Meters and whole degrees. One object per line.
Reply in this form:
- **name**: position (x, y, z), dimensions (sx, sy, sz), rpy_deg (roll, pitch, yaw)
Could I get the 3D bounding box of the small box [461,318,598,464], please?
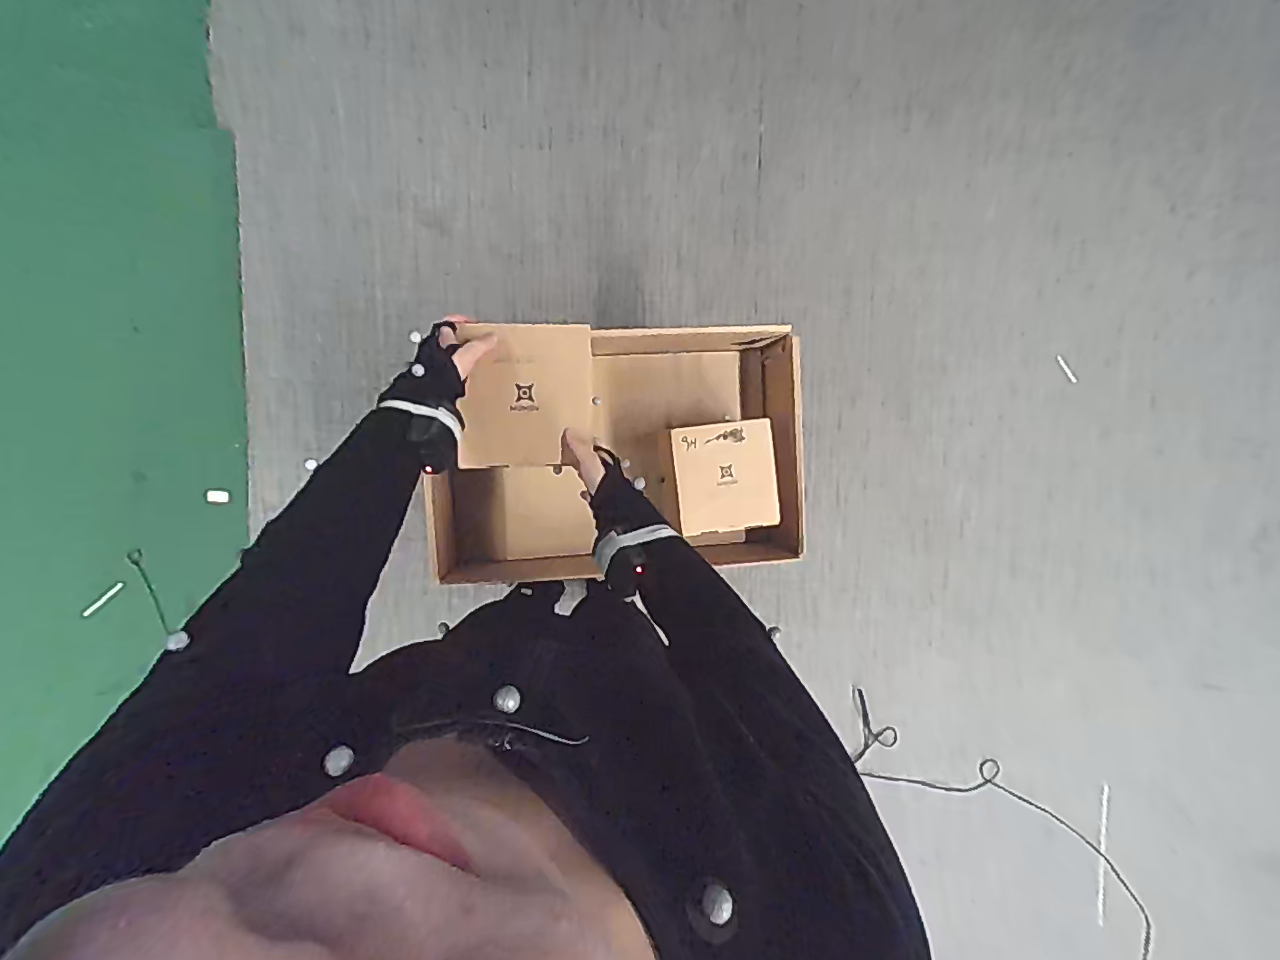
- **small box**: position (-0.142, -0.116, 0.738), dimensions (0.168, 0.176, 0.179), rpy_deg (-1, 96, -7)
